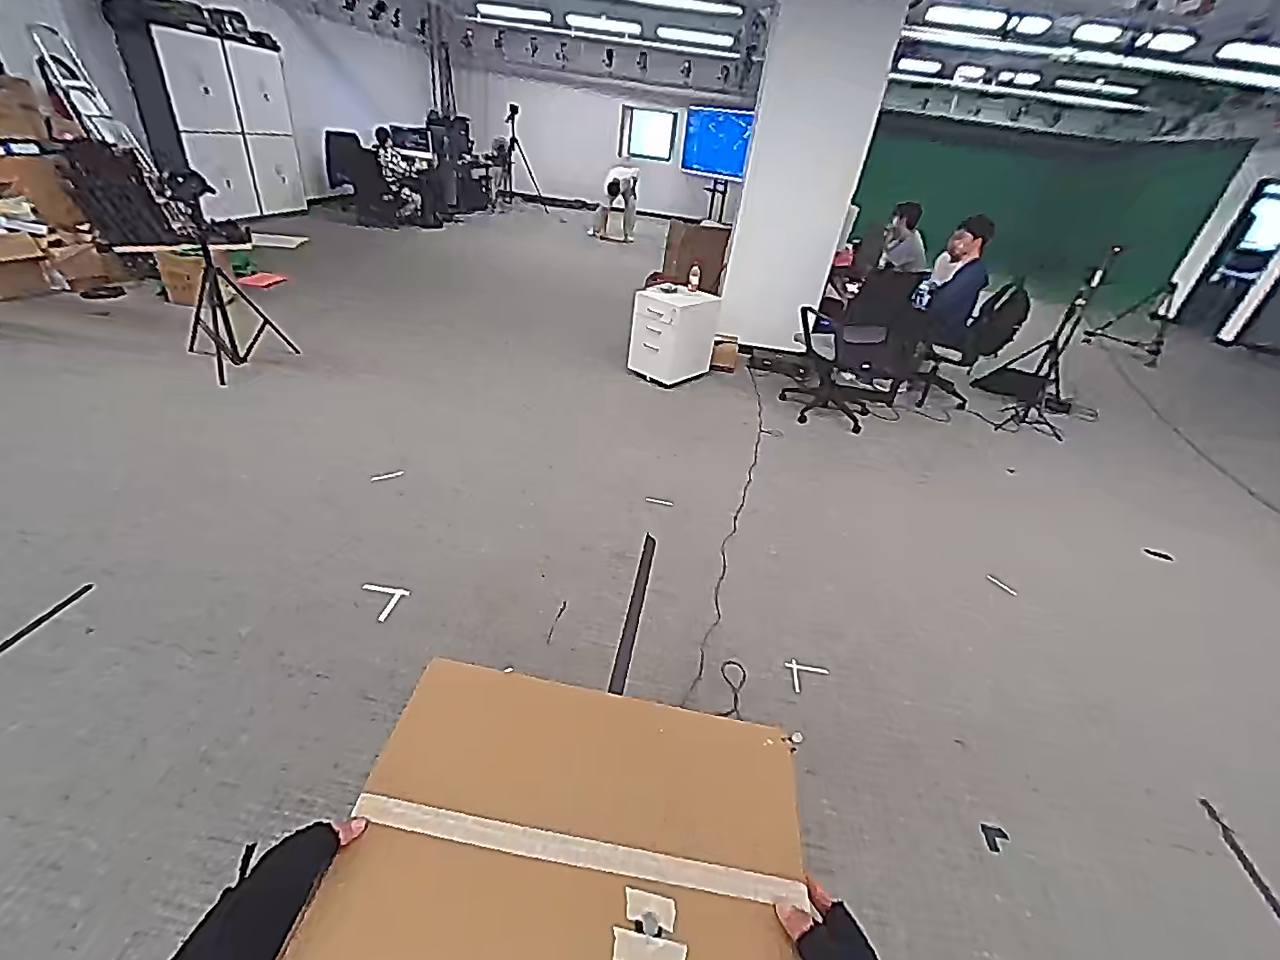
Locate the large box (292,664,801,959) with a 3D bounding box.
[{"bbox_3d":[-0.078,0.451,0.577,0.408,0.320,0.320,12,37,1],"label":"large box"}]
